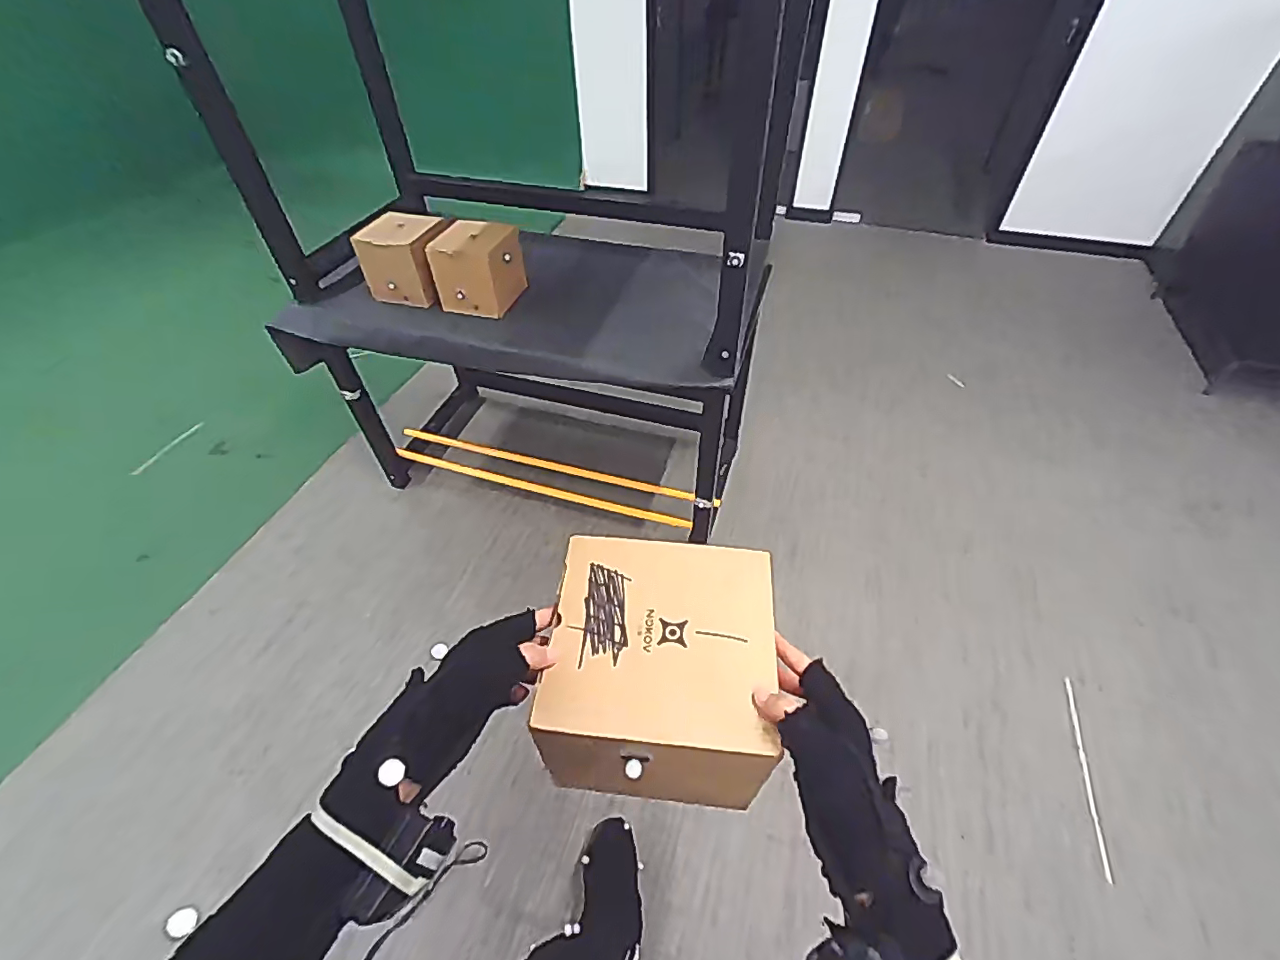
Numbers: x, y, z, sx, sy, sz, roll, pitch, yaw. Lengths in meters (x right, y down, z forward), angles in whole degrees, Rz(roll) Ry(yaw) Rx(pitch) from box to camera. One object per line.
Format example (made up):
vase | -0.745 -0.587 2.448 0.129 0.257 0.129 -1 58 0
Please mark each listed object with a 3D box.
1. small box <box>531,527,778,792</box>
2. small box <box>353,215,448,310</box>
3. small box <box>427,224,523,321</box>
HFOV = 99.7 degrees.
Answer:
small box | 0.017 0.162 0.484 0.179 0.176 0.168 5 48 3
small box | -0.614 -0.577 1.436 0.168 0.176 0.179 11 48 11
small box | -0.417 -0.537 1.401 0.168 0.176 0.179 11 48 11
